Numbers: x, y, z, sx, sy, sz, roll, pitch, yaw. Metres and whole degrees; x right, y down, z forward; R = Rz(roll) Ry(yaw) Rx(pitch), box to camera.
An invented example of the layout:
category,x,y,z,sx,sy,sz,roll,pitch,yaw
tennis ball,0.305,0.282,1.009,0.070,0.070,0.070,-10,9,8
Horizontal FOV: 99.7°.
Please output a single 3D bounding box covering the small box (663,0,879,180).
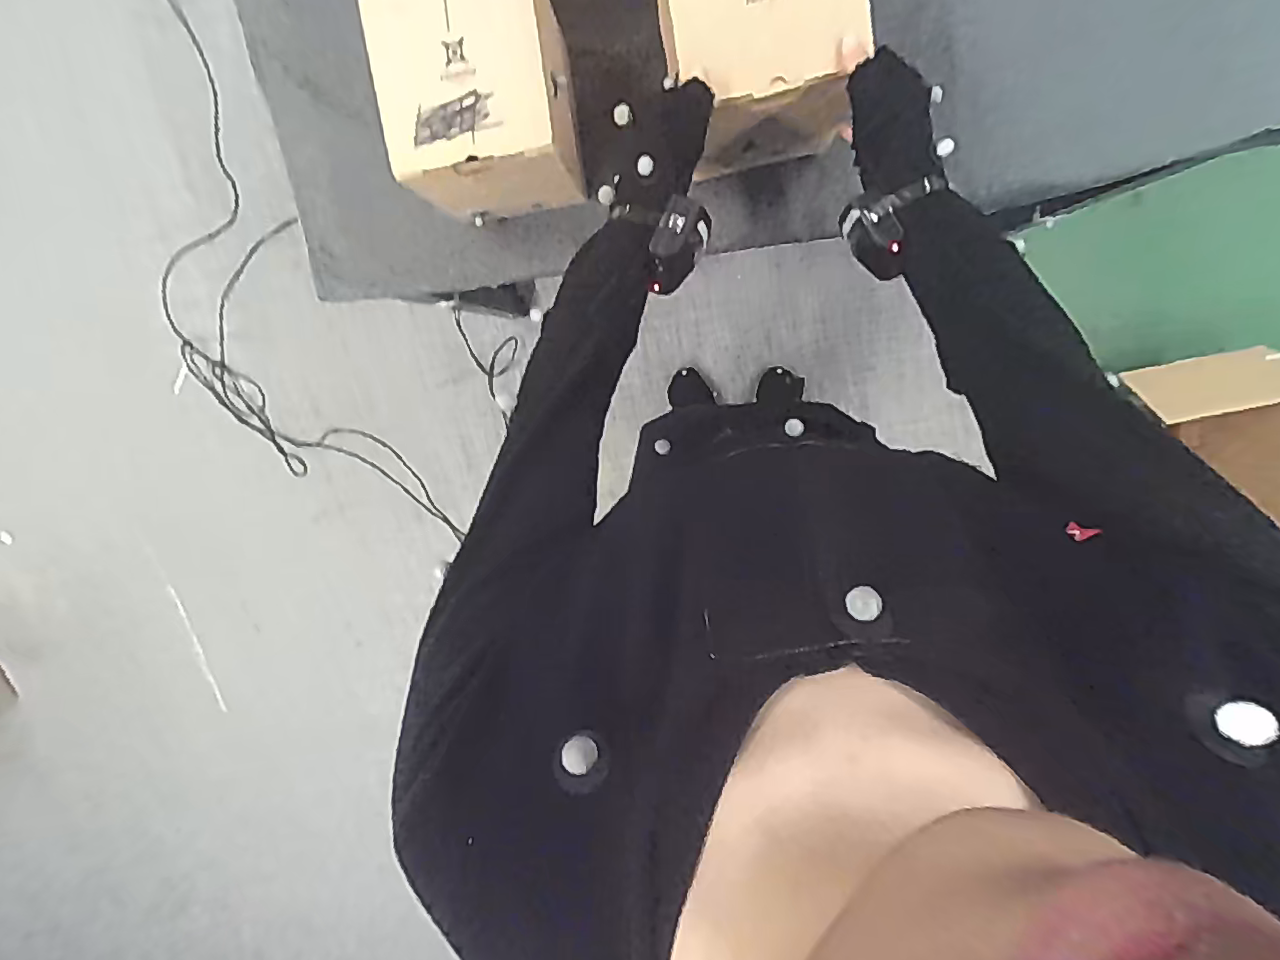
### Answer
category,x,y,z,sx,sy,sz,roll,pitch,yaw
small box,0.115,-0.433,0.534,0.168,0.176,0.179,-10,99,7
